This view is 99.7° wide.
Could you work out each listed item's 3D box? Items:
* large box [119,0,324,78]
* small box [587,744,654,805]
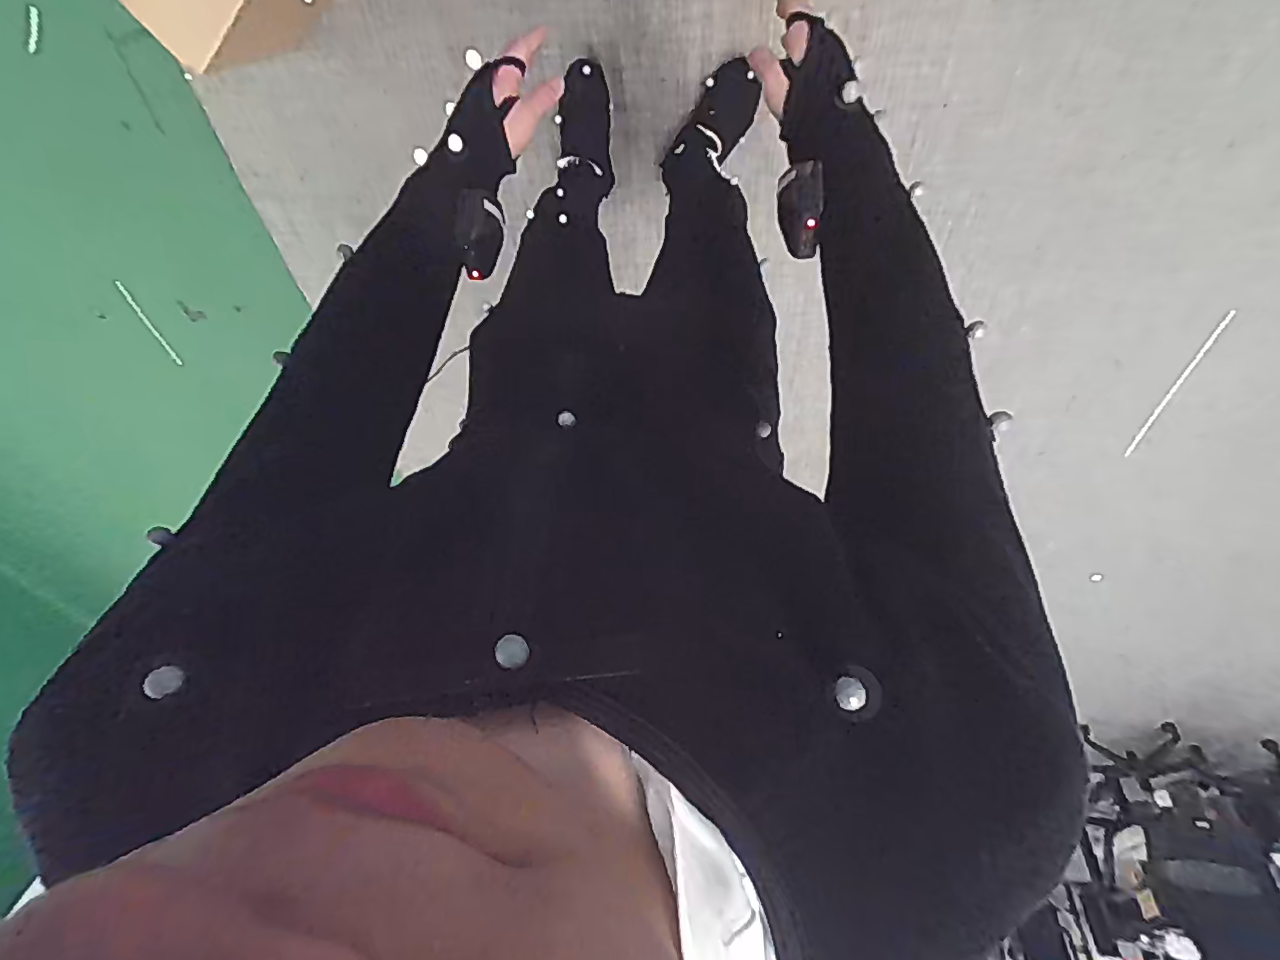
[{"bbox_3d":[-0.730,-1.013,0.928,0.408,0.320,0.320,-21,127,31],"label":"large box"},{"bbox_3d":[-0.070,1.098,2.011,0.179,0.176,0.168,33,133,-21],"label":"small box"}]
